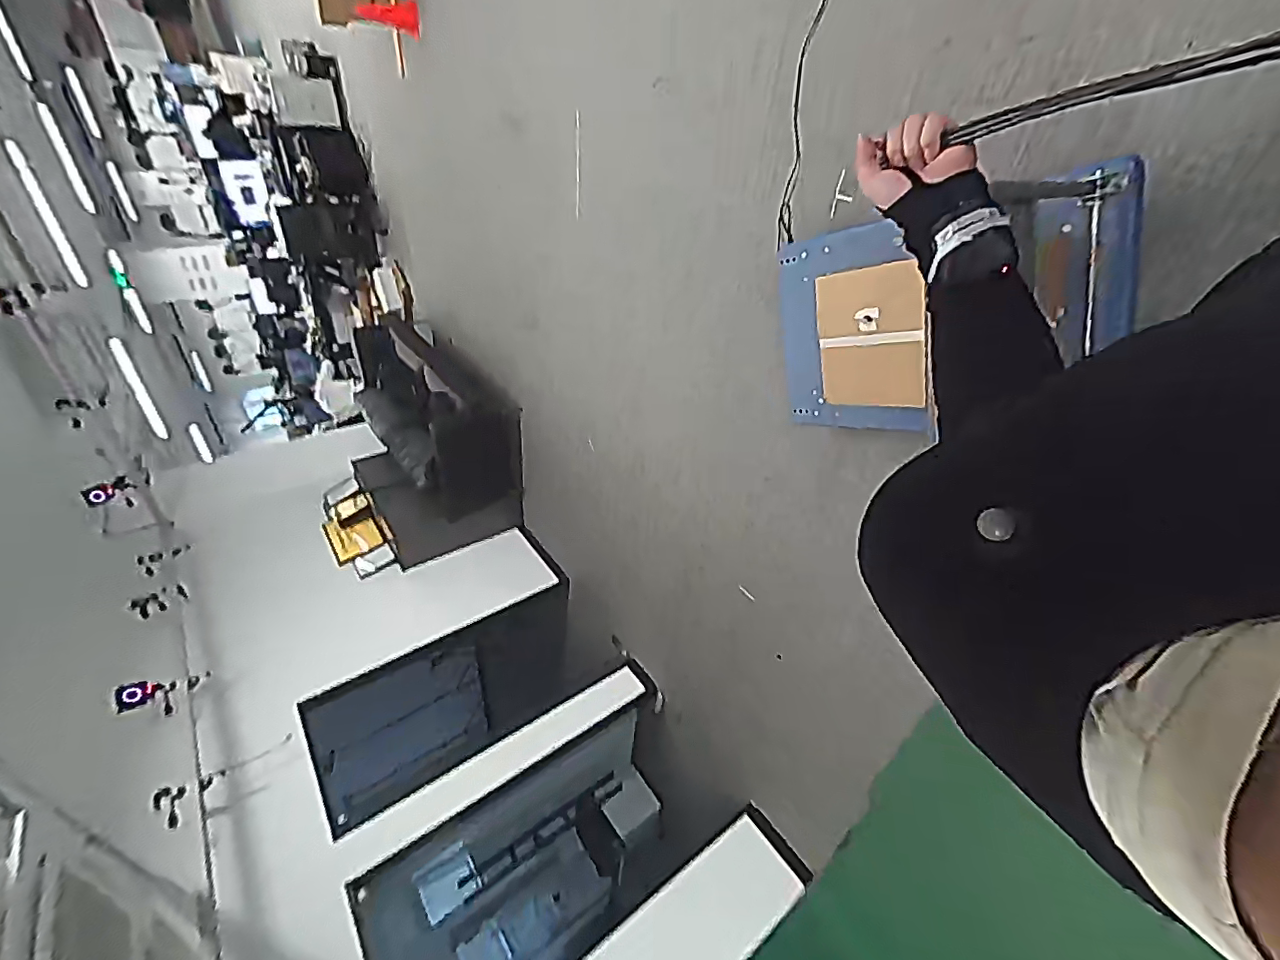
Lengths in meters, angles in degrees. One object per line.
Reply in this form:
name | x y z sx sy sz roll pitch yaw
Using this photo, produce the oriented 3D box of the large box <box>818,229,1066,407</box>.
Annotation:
large box | 0.684 -0.359 1.245 0.408 0.320 0.320 14 118 54
